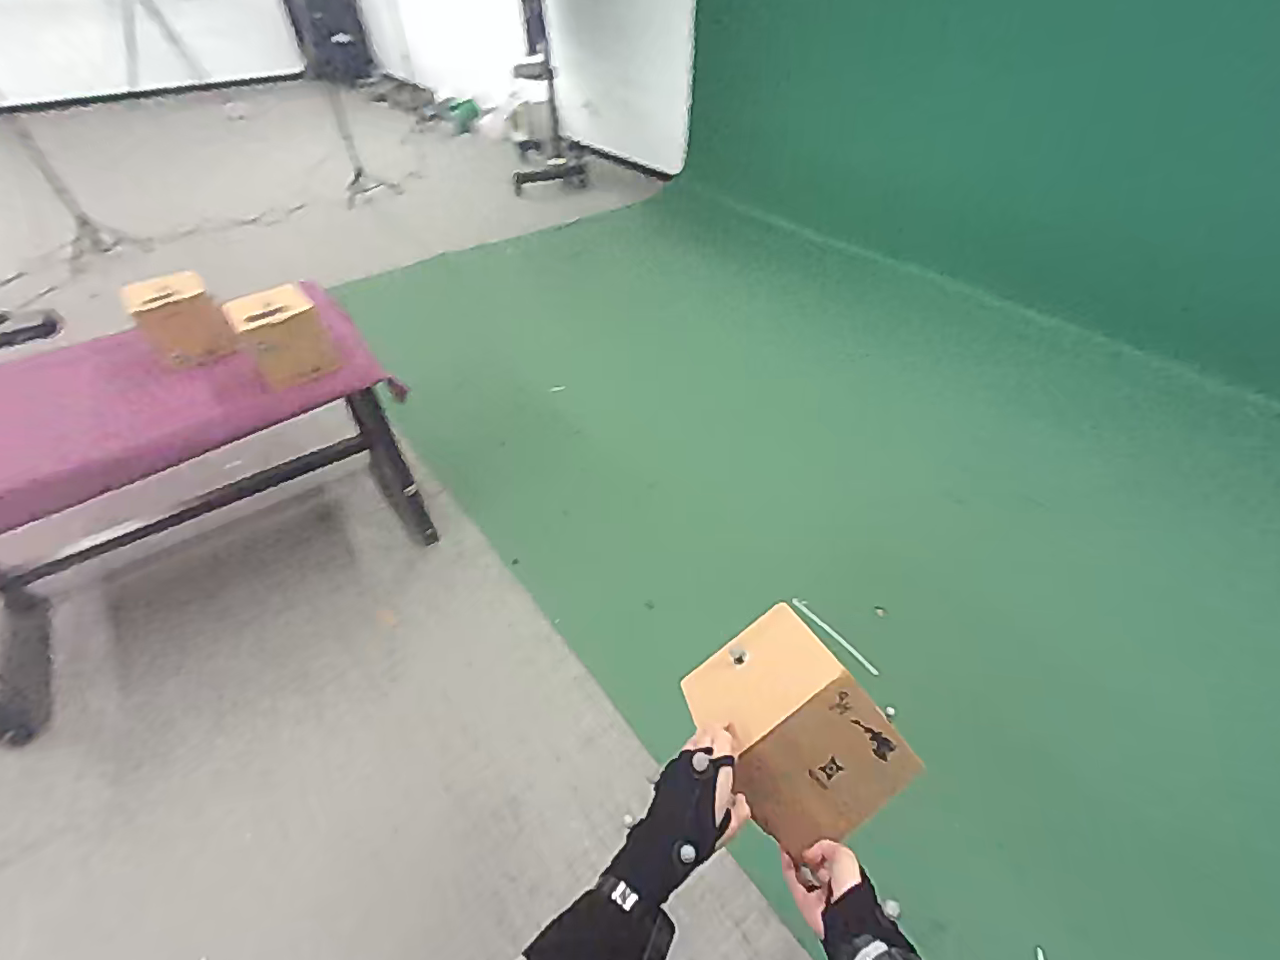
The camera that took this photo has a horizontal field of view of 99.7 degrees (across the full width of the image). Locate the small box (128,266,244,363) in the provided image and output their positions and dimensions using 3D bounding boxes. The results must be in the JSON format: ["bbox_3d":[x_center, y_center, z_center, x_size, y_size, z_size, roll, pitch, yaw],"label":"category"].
[{"bbox_3d":[-1.175,-0.427,1.408,0.168,0.176,0.179,-30,52,-26],"label":"small box"}]

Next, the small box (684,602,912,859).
[{"bbox_3d":[0.169,0.282,0.642,0.179,0.168,0.176,-40,15,1],"label":"small box"}]
